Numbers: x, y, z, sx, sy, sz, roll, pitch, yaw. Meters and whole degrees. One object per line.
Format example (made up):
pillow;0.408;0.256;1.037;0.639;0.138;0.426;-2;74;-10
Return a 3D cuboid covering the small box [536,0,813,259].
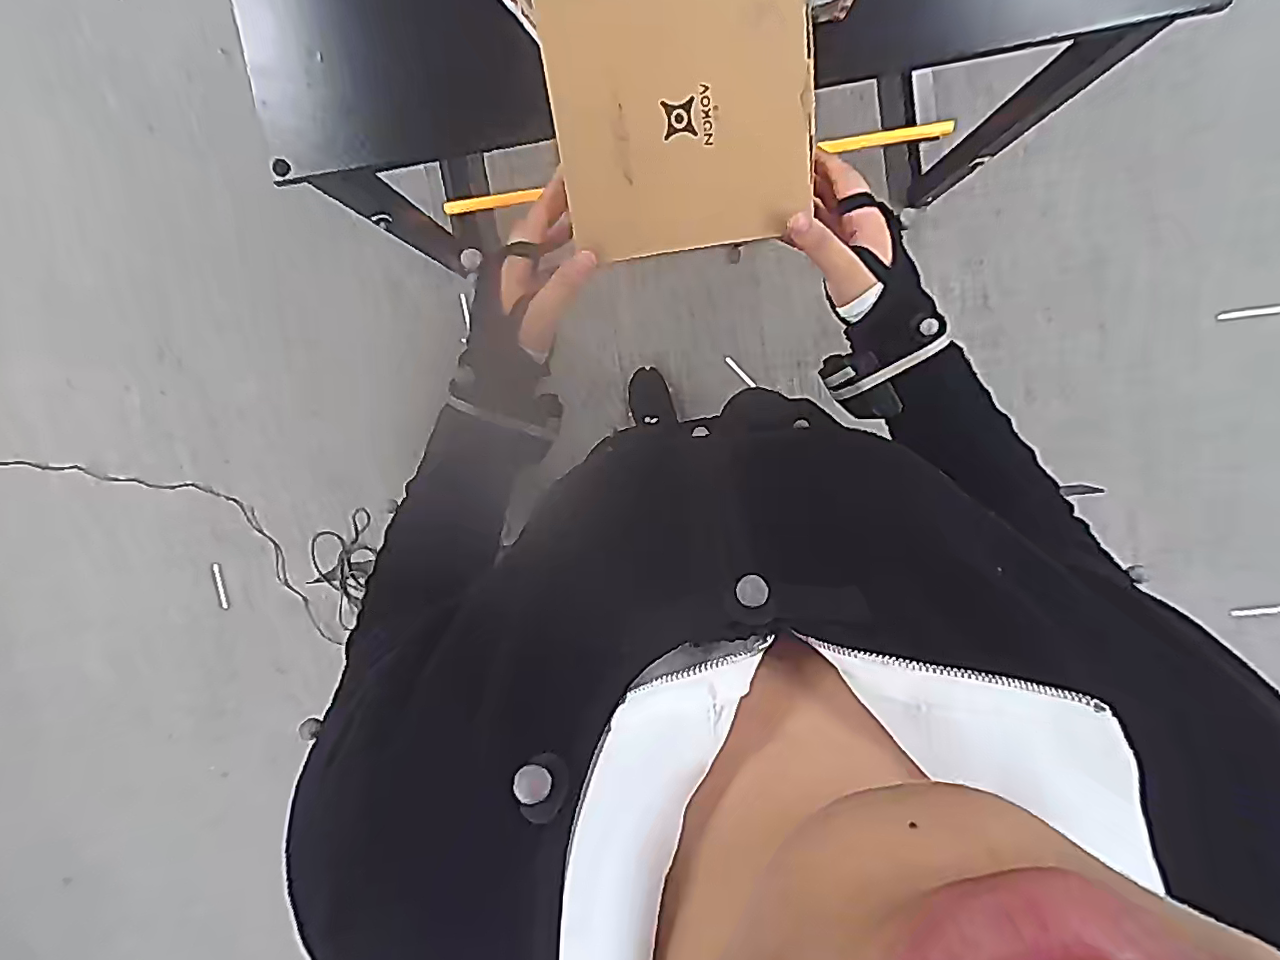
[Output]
small box;0.024;-0.280;0.439;0.179;0.176;0.168;-10;111;0
